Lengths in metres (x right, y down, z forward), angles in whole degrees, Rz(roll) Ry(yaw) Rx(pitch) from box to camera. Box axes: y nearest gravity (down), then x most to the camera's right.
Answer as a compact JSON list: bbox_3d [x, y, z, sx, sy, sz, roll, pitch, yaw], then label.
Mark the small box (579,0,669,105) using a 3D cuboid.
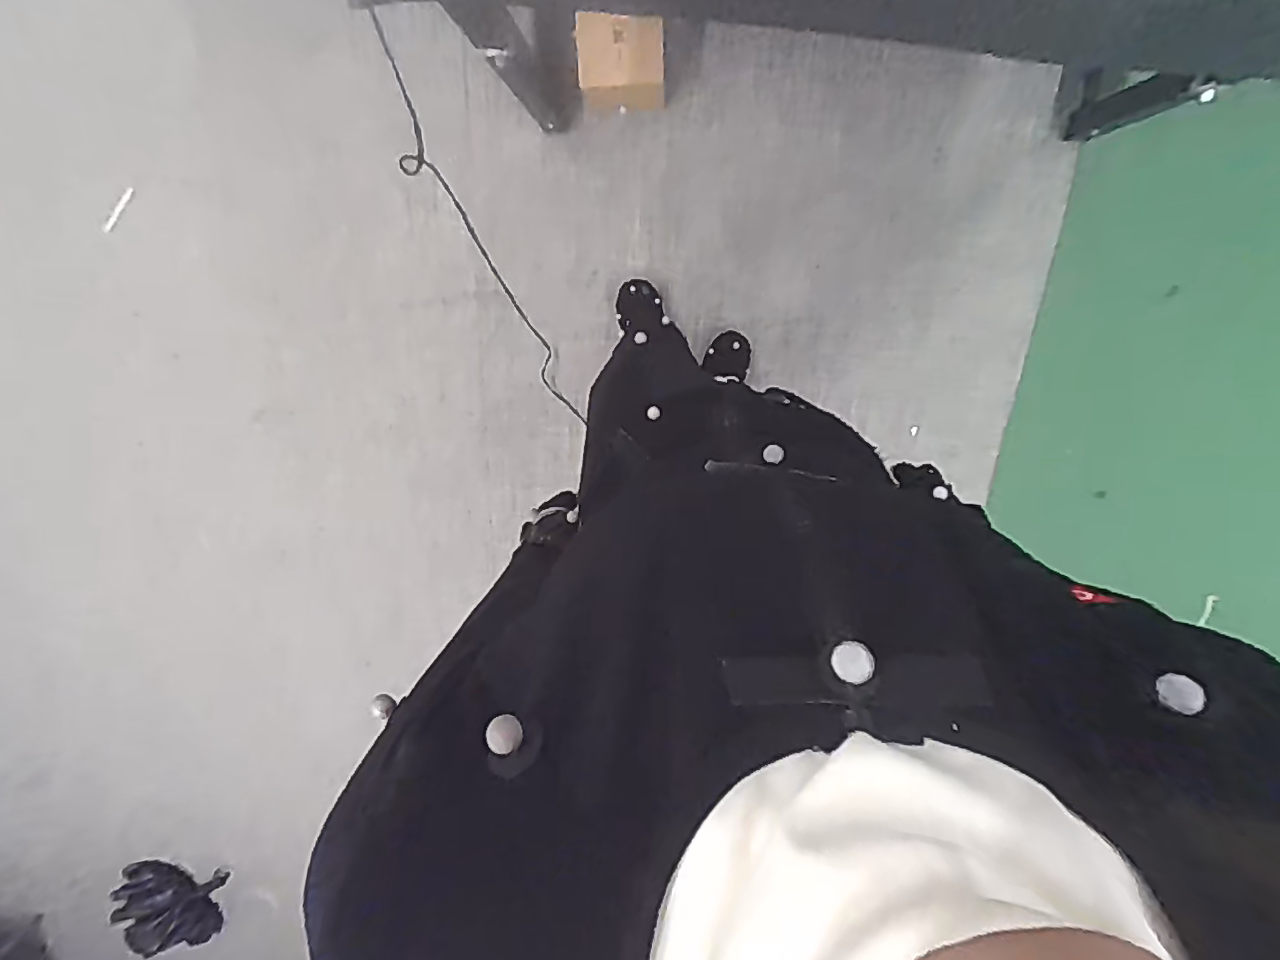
[{"bbox_3d":[-0.027,-0.882,1.081,0.168,0.176,0.179,0,110,4],"label":"small box"}]
